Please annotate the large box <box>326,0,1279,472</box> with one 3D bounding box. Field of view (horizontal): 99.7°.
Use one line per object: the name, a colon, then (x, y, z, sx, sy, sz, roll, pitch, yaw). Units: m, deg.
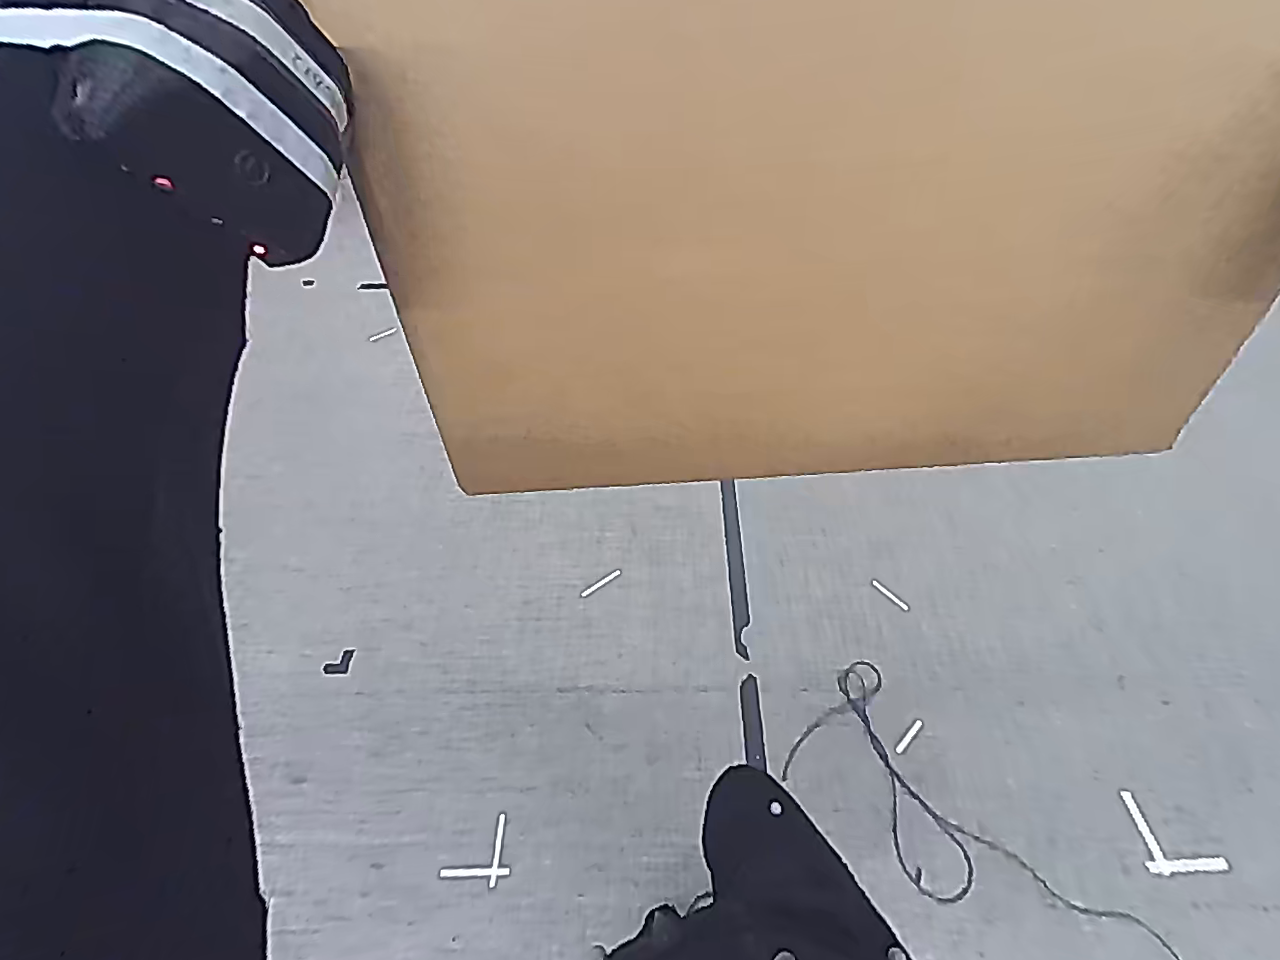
large box: (0.082, -0.224, 0.333, 0.408, 0.320, 0.320, -3, 40, -1)
